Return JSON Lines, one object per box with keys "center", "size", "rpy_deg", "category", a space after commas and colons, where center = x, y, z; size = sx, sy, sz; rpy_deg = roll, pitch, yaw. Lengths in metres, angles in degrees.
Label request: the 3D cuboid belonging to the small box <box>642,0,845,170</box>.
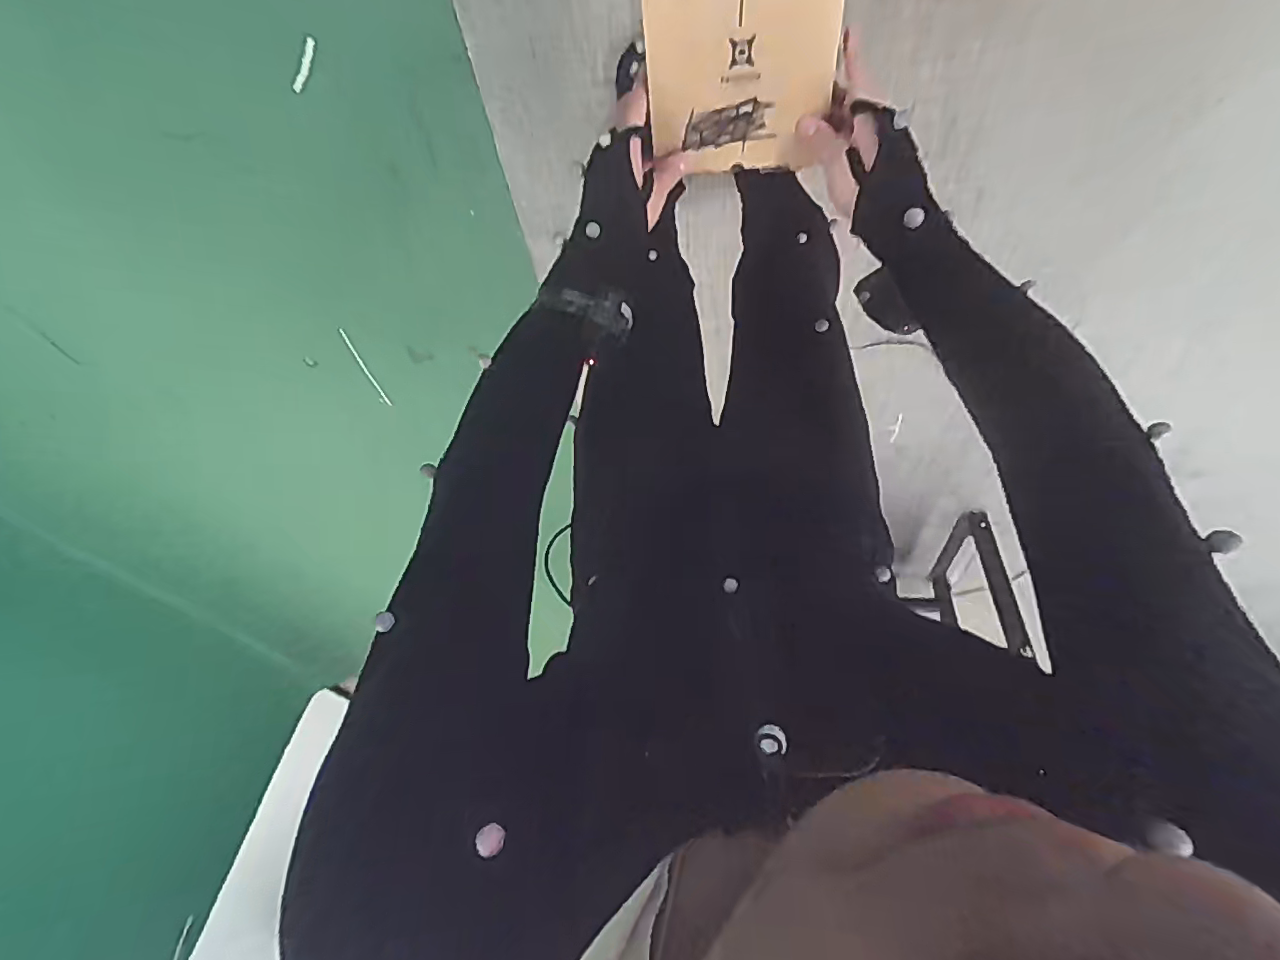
{"center": [0.094, -0.426, 0.517], "size": [0.168, 0.176, 0.179], "rpy_deg": [0, 139, 7], "category": "small box"}
